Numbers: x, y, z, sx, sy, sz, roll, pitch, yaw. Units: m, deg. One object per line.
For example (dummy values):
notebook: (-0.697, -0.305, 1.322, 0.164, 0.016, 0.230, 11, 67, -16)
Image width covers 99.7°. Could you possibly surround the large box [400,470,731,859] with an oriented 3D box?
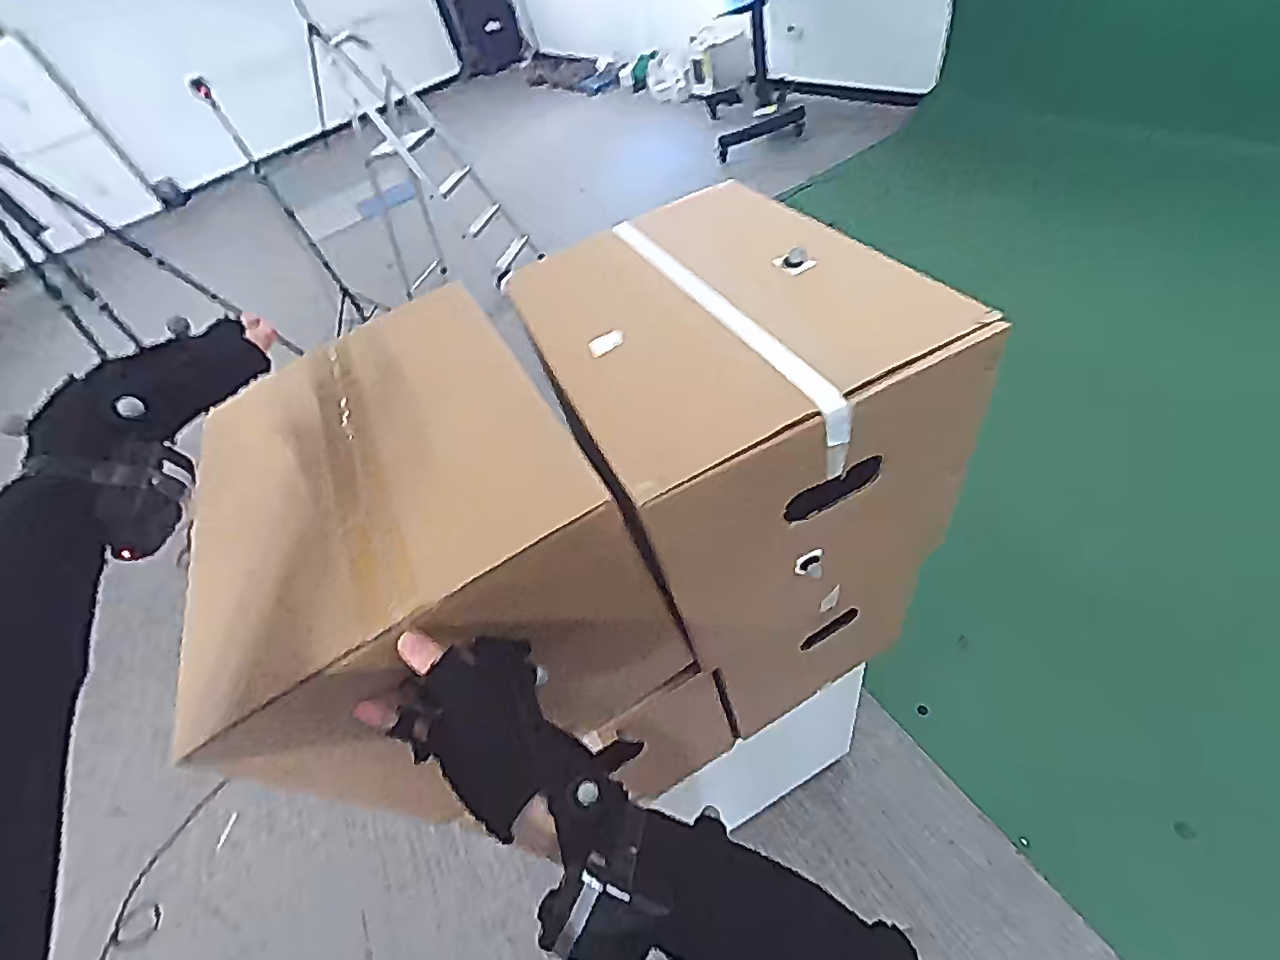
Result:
large box: (-0.112, 0.265, 0.830, 0.320, 0.320, 0.408, -29, 46, -11)
